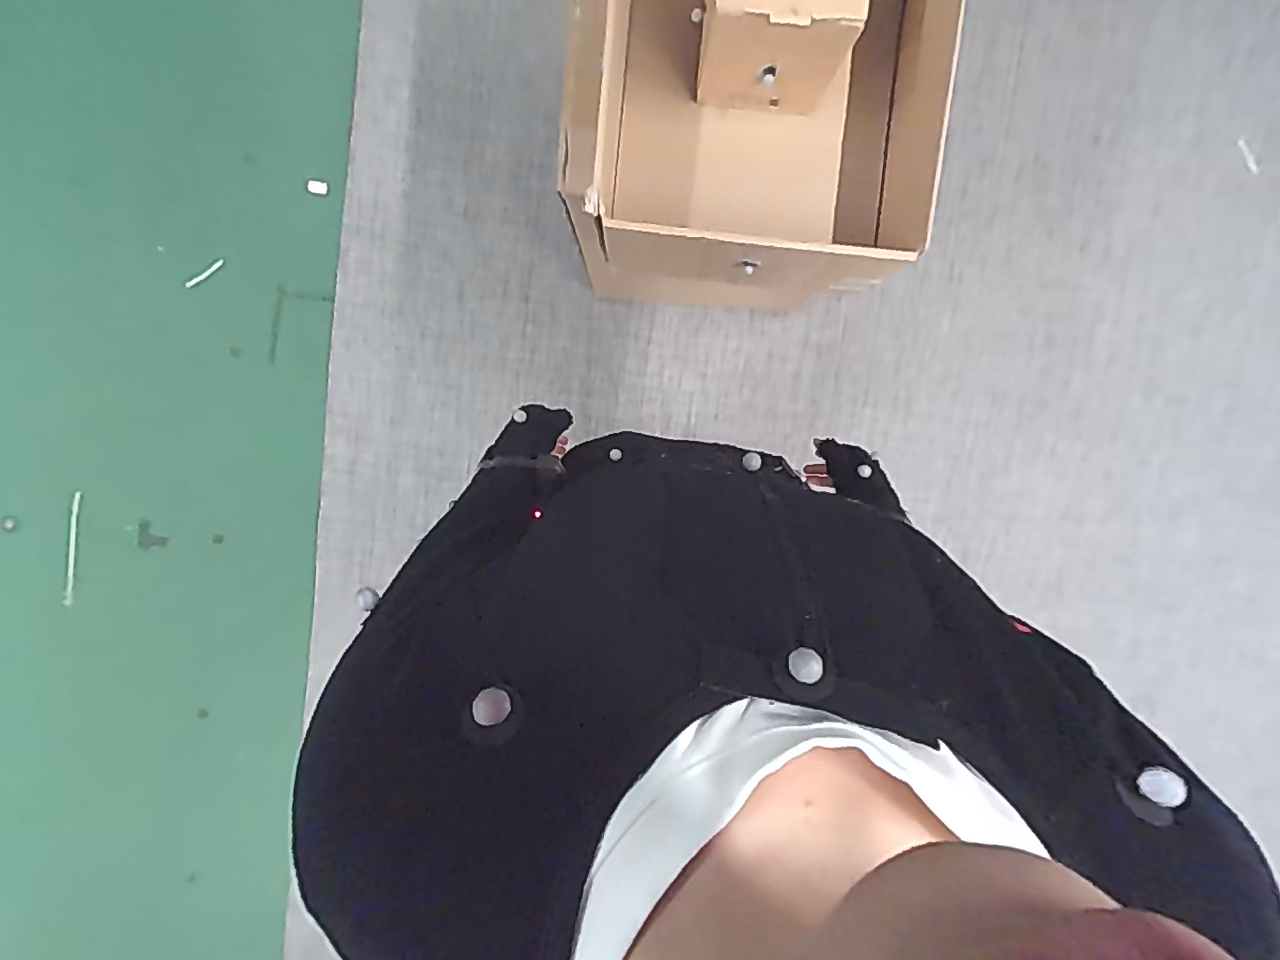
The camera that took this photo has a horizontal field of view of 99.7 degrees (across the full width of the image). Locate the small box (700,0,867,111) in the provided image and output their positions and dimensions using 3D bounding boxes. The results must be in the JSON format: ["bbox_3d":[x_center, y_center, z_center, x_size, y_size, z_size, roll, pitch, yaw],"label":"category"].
[{"bbox_3d":[0.168,-0.584,0.651,0.168,0.176,0.179,5,95,-1],"label":"small box"}]
